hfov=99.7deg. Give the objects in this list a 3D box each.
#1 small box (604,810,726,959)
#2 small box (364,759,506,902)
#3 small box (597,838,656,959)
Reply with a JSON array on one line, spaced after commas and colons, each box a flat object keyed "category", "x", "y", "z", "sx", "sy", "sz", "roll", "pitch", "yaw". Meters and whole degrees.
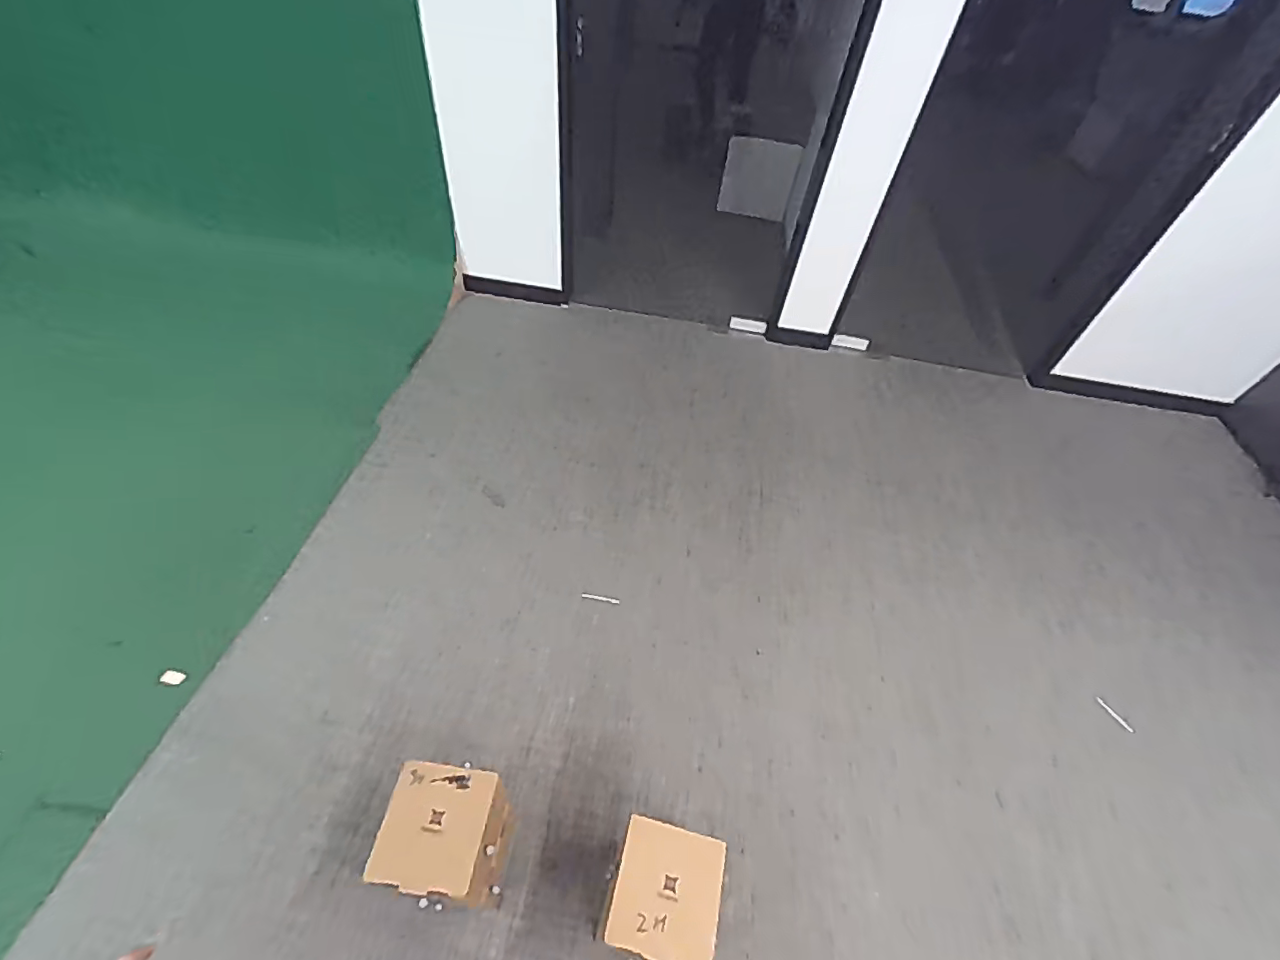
[{"category": "small box", "x": 0.038, "y": 0.693, "z": 0.914, "sx": 0.168, "sy": 0.176, "sz": 0.179, "roll": 14, "pitch": 50, "yaw": 5}, {"category": "small box", "x": -0.339, "y": 0.610, "z": 0.937, "sx": 0.168, "sy": 0.176, "sz": 0.179, "roll": 9, "pitch": 50, "yaw": 0}, {"category": "small box", "x": 0.019, "y": 0.802, "z": 1.037, "sx": 0.168, "sy": 0.176, "sz": 0.179, "roll": 16, "pitch": 51, "yaw": 6}]
